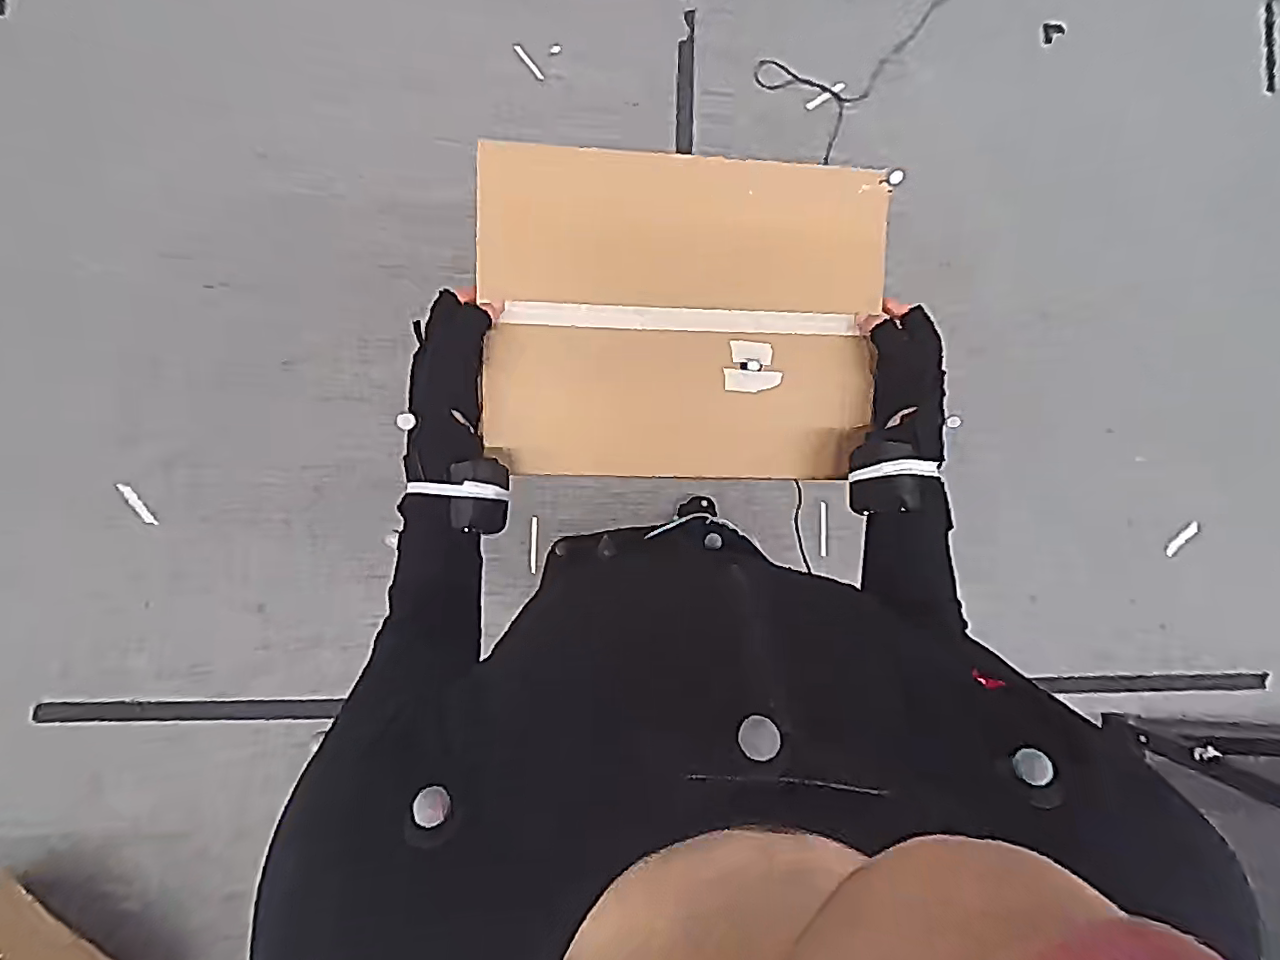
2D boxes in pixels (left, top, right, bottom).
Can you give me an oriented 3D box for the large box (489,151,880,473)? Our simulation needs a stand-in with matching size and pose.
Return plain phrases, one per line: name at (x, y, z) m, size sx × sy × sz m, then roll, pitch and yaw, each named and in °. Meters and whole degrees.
large box at (0.033, -0.174, 0.698) m, size 0.408 × 0.320 × 0.320 m, roll 1°, pitch 95°, yaw -6°
